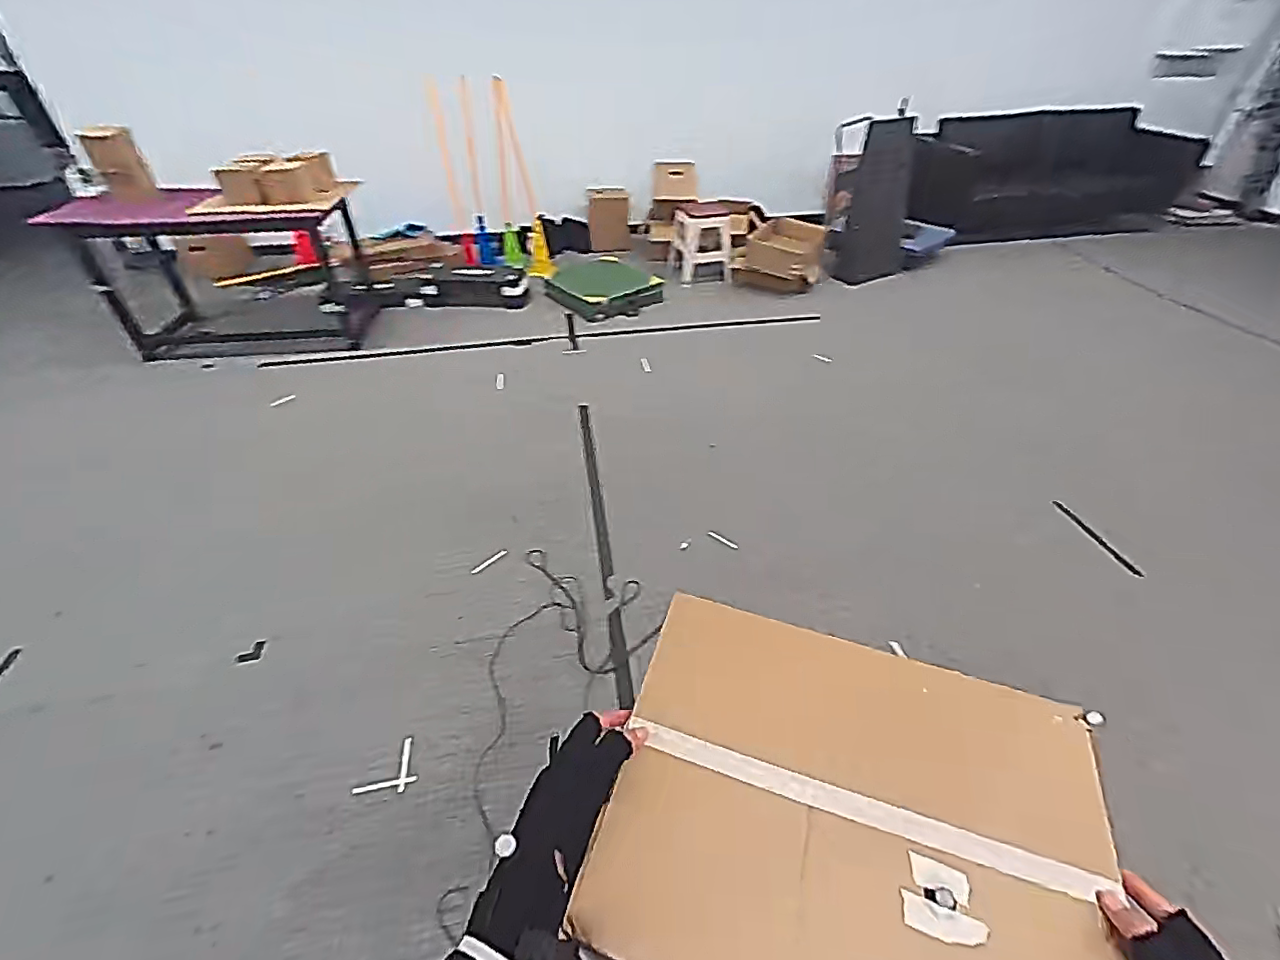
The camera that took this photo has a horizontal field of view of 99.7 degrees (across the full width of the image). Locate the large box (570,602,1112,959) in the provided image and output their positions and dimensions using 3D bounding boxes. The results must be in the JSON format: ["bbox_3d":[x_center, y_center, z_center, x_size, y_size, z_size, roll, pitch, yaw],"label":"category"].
[{"bbox_3d":[0.173,0.385,0.580,0.408,0.320,0.320,13,48,12],"label":"large box"}]
